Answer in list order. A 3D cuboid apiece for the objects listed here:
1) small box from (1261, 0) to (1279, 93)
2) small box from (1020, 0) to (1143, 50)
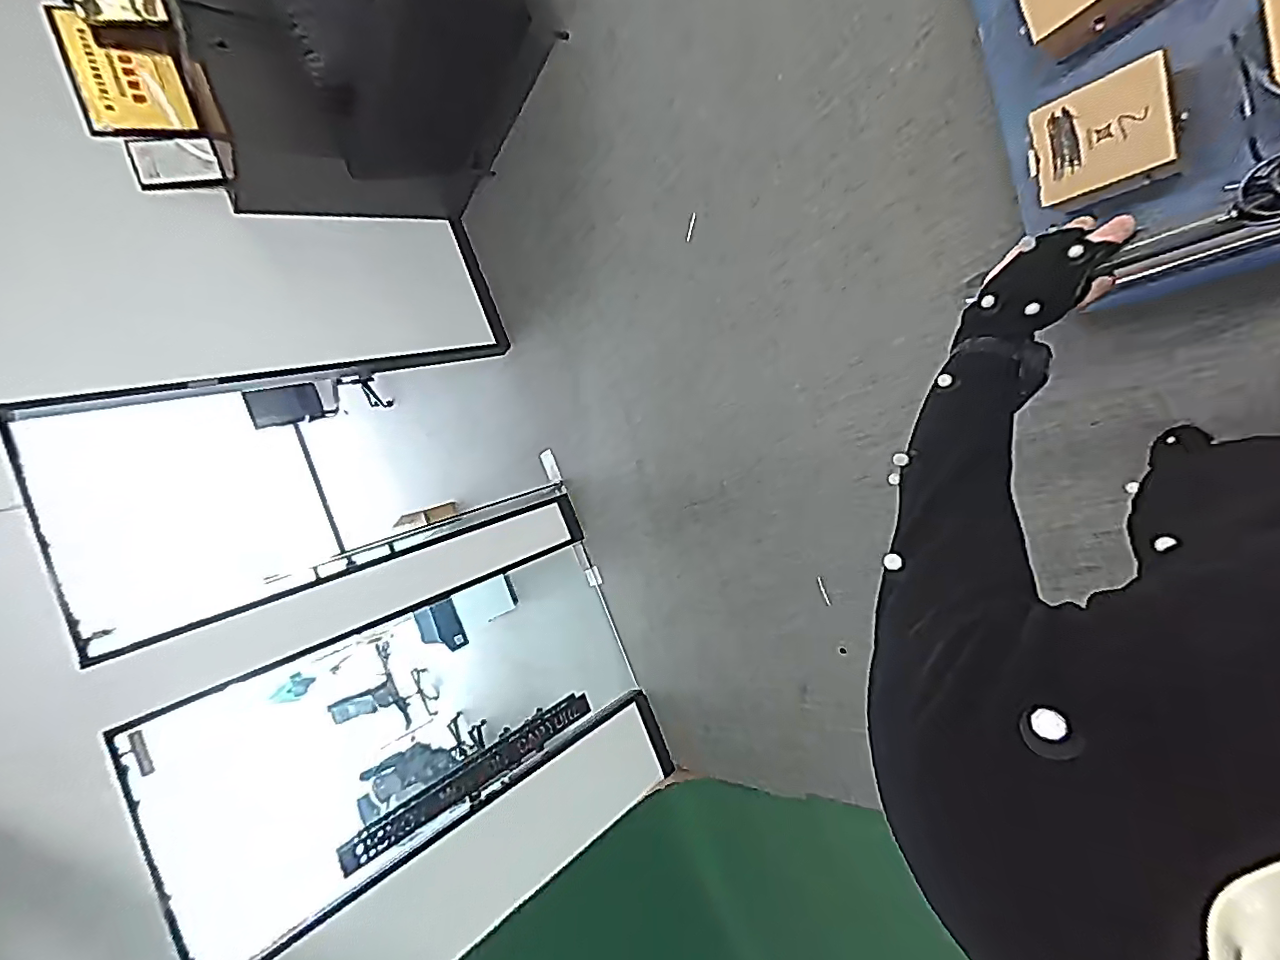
[{"bbox_3d":[0.979,-0.662,0.733,0.168,0.176,0.179,-11,98,51],"label":"small box"},{"bbox_3d":[0.752,-0.870,0.909,0.168,0.176,0.179,-18,91,51],"label":"small box"}]
